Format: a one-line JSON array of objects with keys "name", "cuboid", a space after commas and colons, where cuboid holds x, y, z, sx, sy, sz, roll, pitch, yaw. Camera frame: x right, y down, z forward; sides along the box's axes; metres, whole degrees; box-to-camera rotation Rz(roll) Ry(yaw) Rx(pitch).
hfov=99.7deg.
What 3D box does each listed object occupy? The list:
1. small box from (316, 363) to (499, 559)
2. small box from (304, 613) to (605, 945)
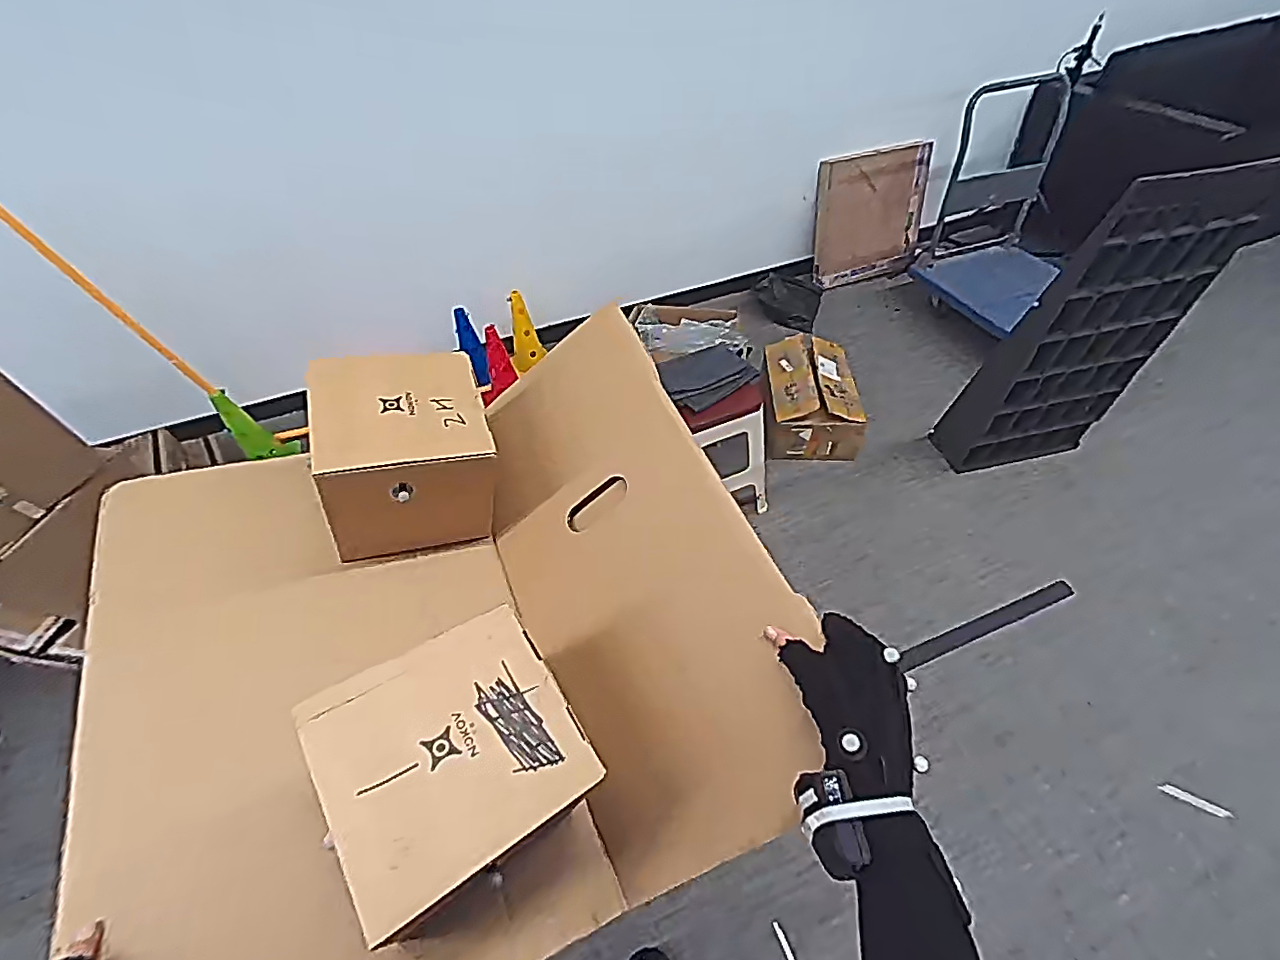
[{"name": "small box", "cuboid": [-0.275, -0.021, 0.654, 0.179, 0.176, 0.168, -7, 55, -24]}, {"name": "small box", "cuboid": [-0.158, 0.251, 0.471, 0.179, 0.176, 0.168, -22, 62, -31]}]
